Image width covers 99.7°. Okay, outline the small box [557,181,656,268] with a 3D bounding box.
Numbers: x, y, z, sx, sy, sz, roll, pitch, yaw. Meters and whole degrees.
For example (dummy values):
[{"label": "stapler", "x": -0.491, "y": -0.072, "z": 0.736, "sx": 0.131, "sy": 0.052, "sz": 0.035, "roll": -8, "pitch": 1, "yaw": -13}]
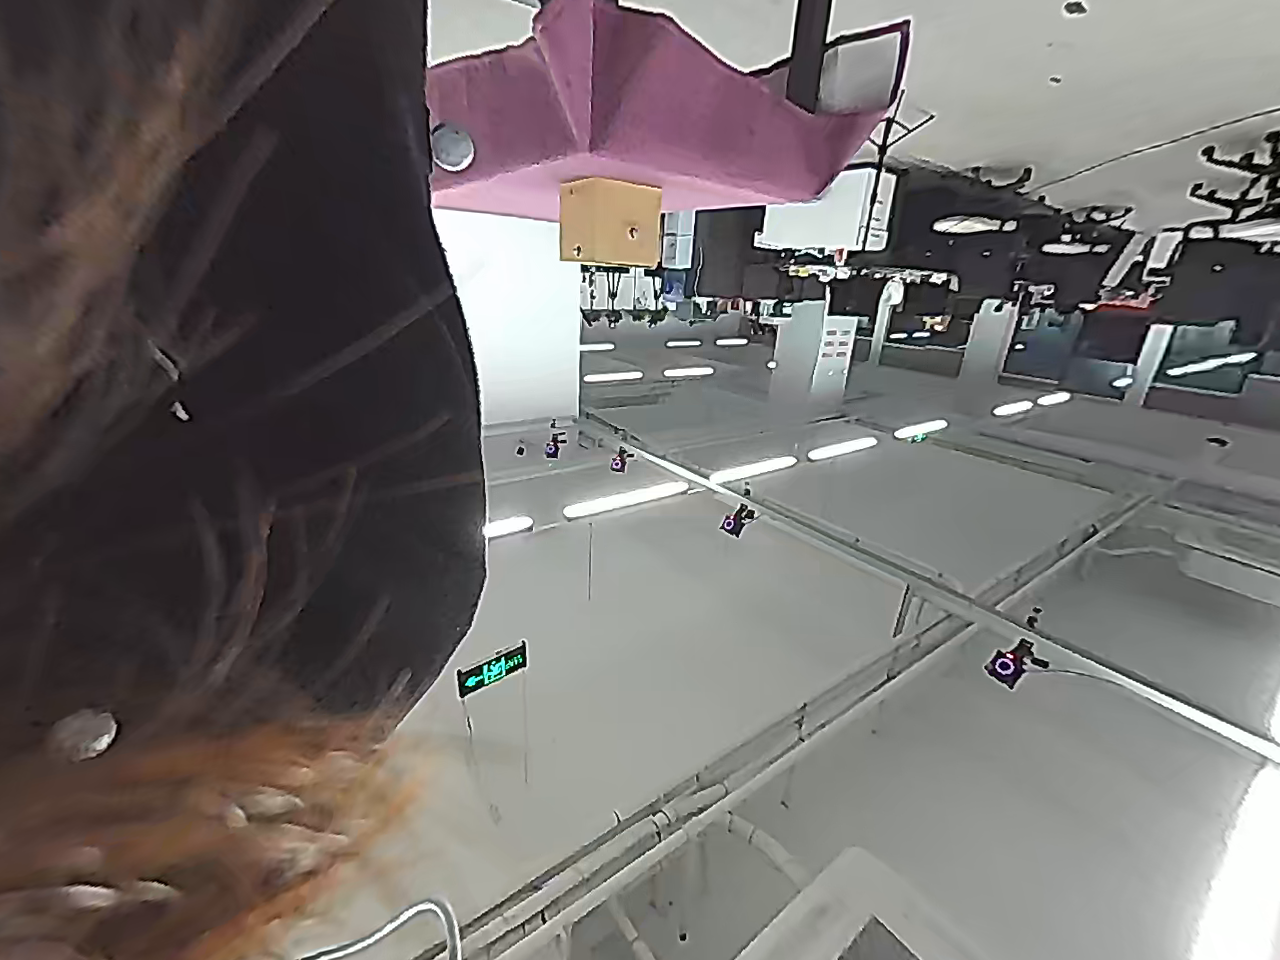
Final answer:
[{"label": "small box", "x": -0.077, "y": -0.584, "z": 1.245, "sx": 0.179, "sy": 0.176, "sz": 0.168, "roll": -12, "pitch": -155, "yaw": -33}]
